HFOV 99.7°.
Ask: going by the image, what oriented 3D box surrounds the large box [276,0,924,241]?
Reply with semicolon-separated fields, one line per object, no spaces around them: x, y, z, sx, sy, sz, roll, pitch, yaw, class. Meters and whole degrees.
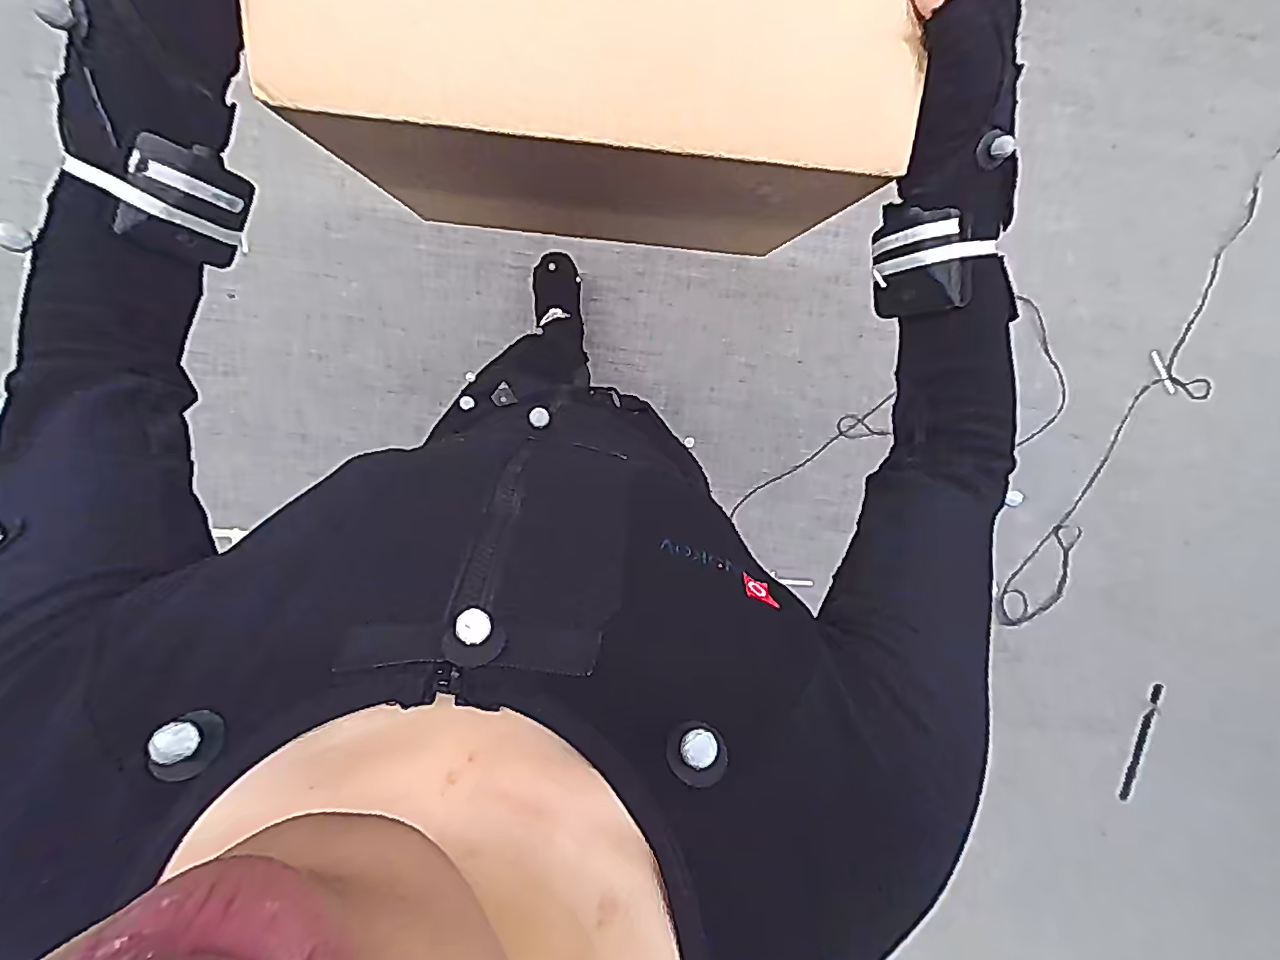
-0.024;-0.408;0.458;0.408;0.320;0.320;3;104;-5;large box
